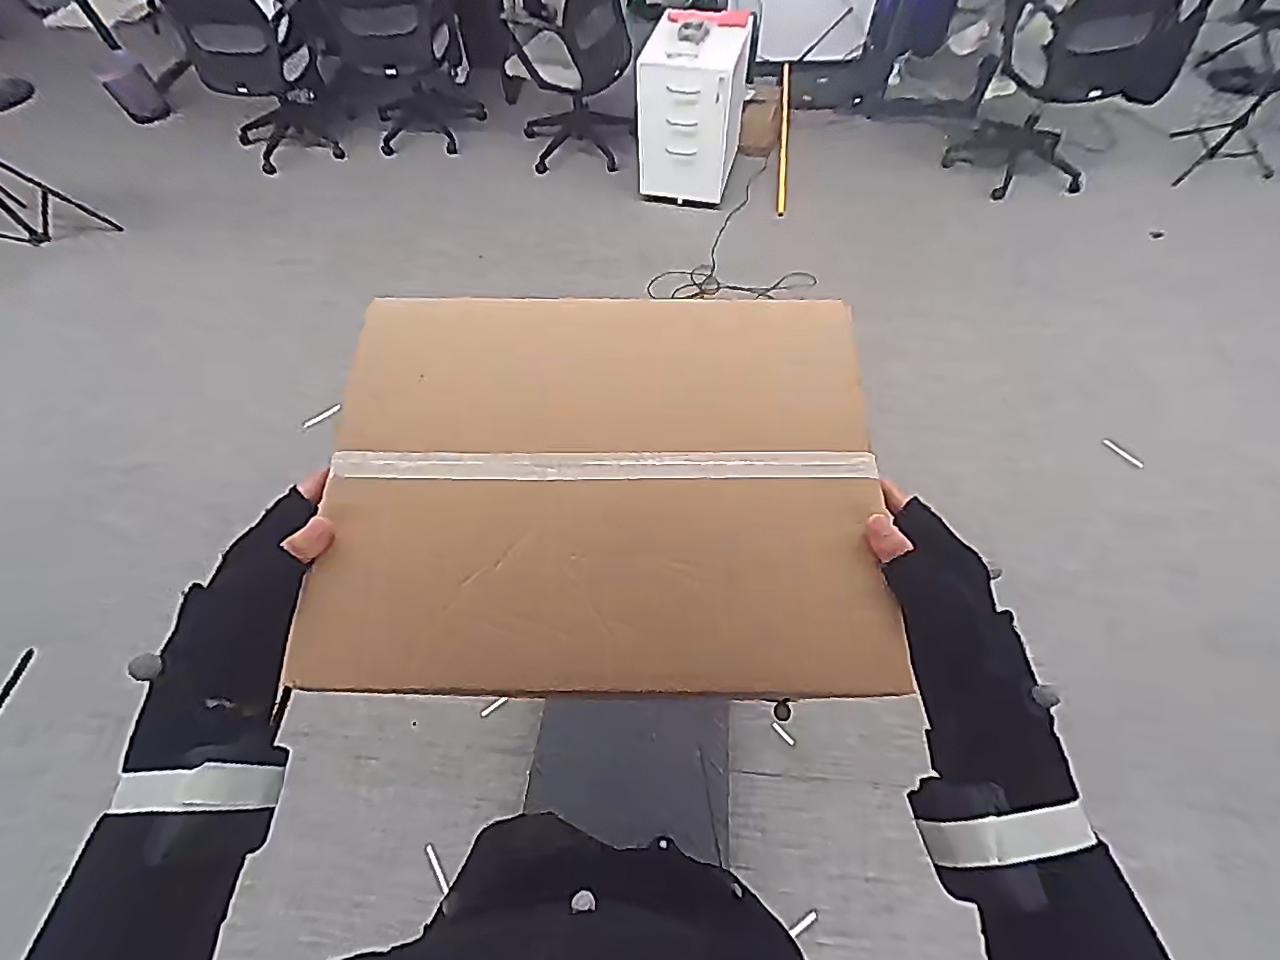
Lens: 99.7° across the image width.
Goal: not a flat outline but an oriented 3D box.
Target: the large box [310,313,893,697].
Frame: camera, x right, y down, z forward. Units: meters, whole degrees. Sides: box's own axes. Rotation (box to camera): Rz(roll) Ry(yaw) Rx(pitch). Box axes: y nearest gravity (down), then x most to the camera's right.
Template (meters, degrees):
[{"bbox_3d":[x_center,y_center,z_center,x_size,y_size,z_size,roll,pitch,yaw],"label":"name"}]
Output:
[{"bbox_3d":[-0.024,0.053,0.556,0.408,0.320,0.320,0,67,1],"label":"large box"}]
